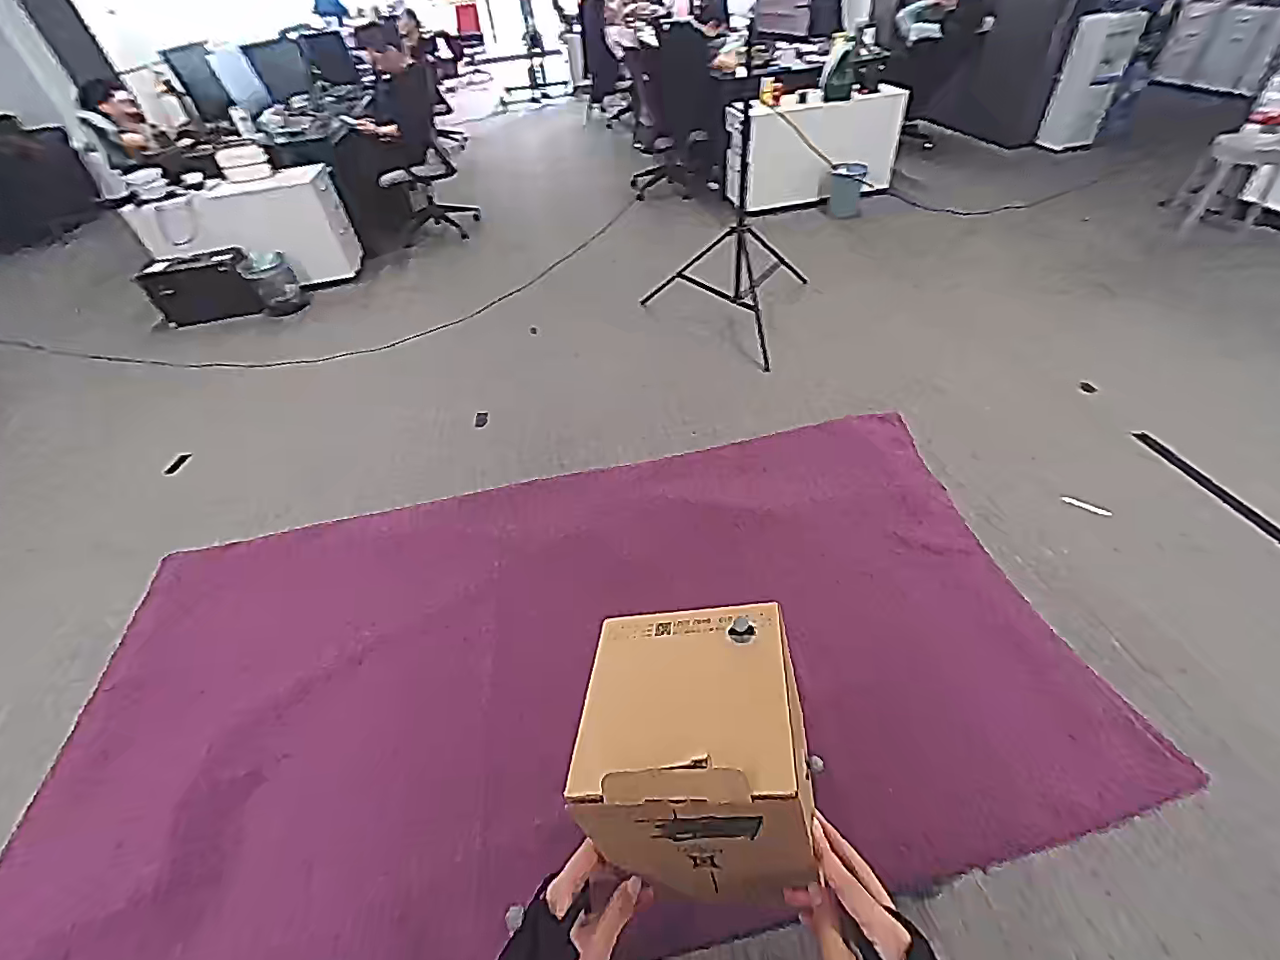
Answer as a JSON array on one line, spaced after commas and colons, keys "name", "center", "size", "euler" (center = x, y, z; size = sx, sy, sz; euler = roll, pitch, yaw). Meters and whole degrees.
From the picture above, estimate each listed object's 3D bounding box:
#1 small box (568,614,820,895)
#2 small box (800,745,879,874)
[{"name": "small box", "center": [0.054, 0.234, 0.478], "size": [0.168, 0.179, 0.176], "euler": [-10, 33, 14]}, {"name": "small box", "center": [0.315, 0.632, 1.019], "size": [0.179, 0.176, 0.168], "euler": [-13, 45, -5]}]
